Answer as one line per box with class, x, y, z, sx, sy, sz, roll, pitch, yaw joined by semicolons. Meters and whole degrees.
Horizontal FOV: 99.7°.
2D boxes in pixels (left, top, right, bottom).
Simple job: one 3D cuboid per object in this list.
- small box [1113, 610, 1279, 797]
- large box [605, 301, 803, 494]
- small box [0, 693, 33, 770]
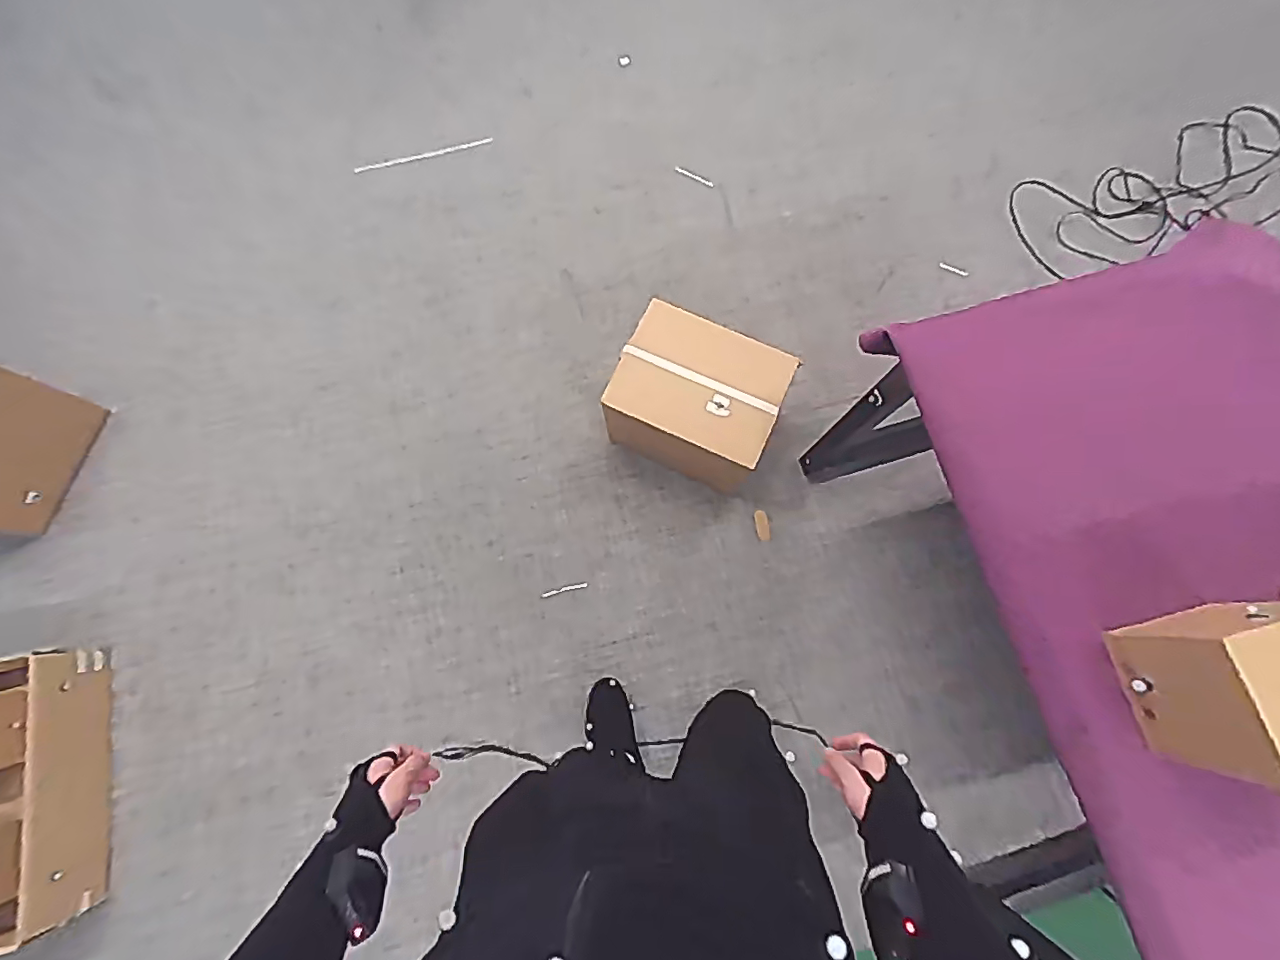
small box;0.736;0.251;0.641;0.179;0.176;0.168;-13;75;-3
large box;0.153;-0.202;1.442;0.408;0.320;0.320;25;79;5
small box;-1.603;0.615;1.273;0.168;0.176;0.179;-17;77;-4
